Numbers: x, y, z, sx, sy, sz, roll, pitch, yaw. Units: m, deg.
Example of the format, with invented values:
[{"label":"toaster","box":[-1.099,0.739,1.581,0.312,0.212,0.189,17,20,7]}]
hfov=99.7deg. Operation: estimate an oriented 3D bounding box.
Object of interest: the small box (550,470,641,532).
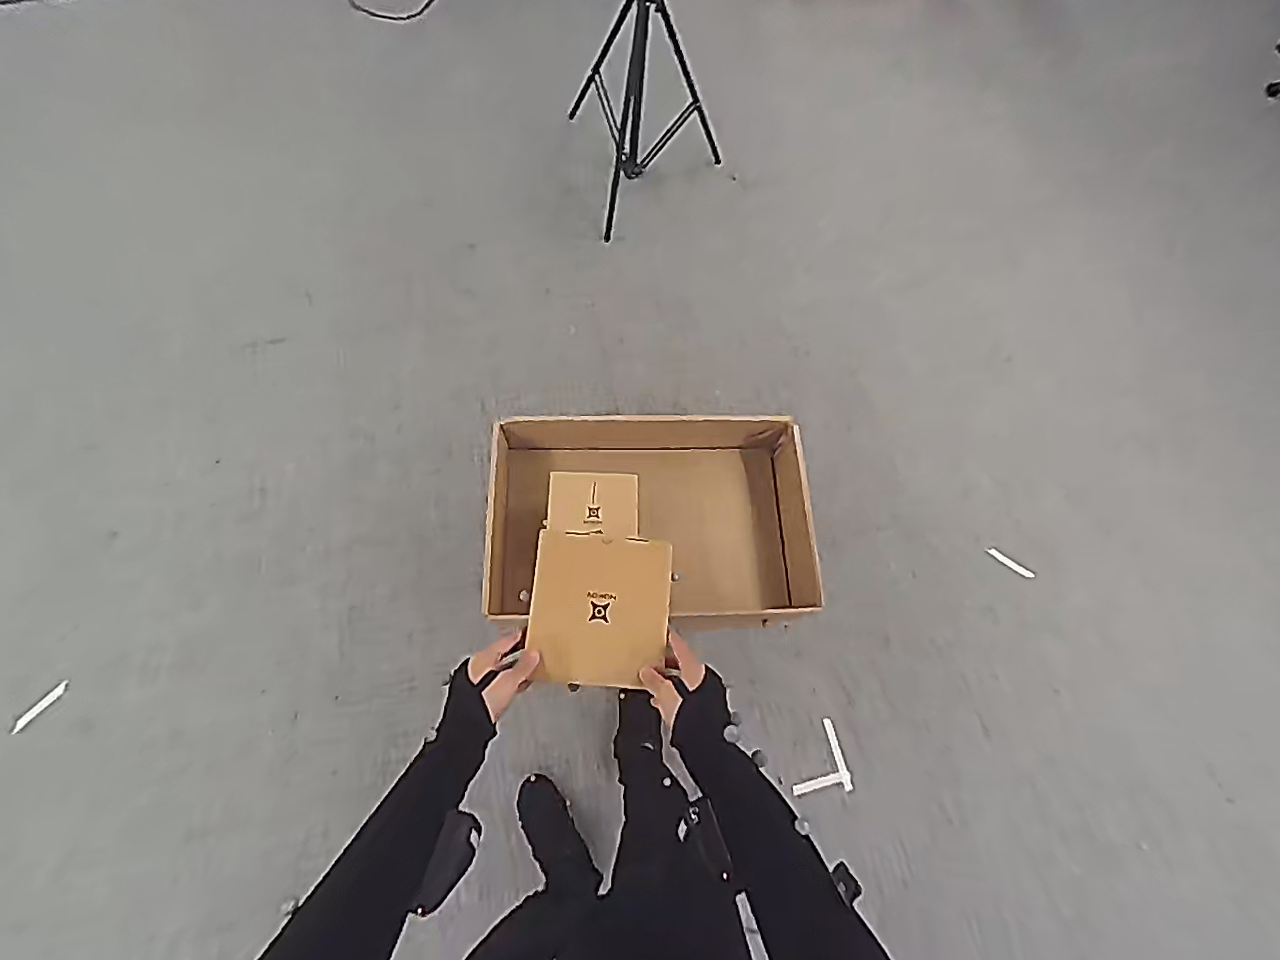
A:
[{"label":"small box","box":[-0.085,0.092,1.055,0.168,0.176,0.179,2,69,-4]}]

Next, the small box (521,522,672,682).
[{"label":"small box","box":[-0.054,0.165,0.720,0.168,0.176,0.179,6,73,-4]}]
